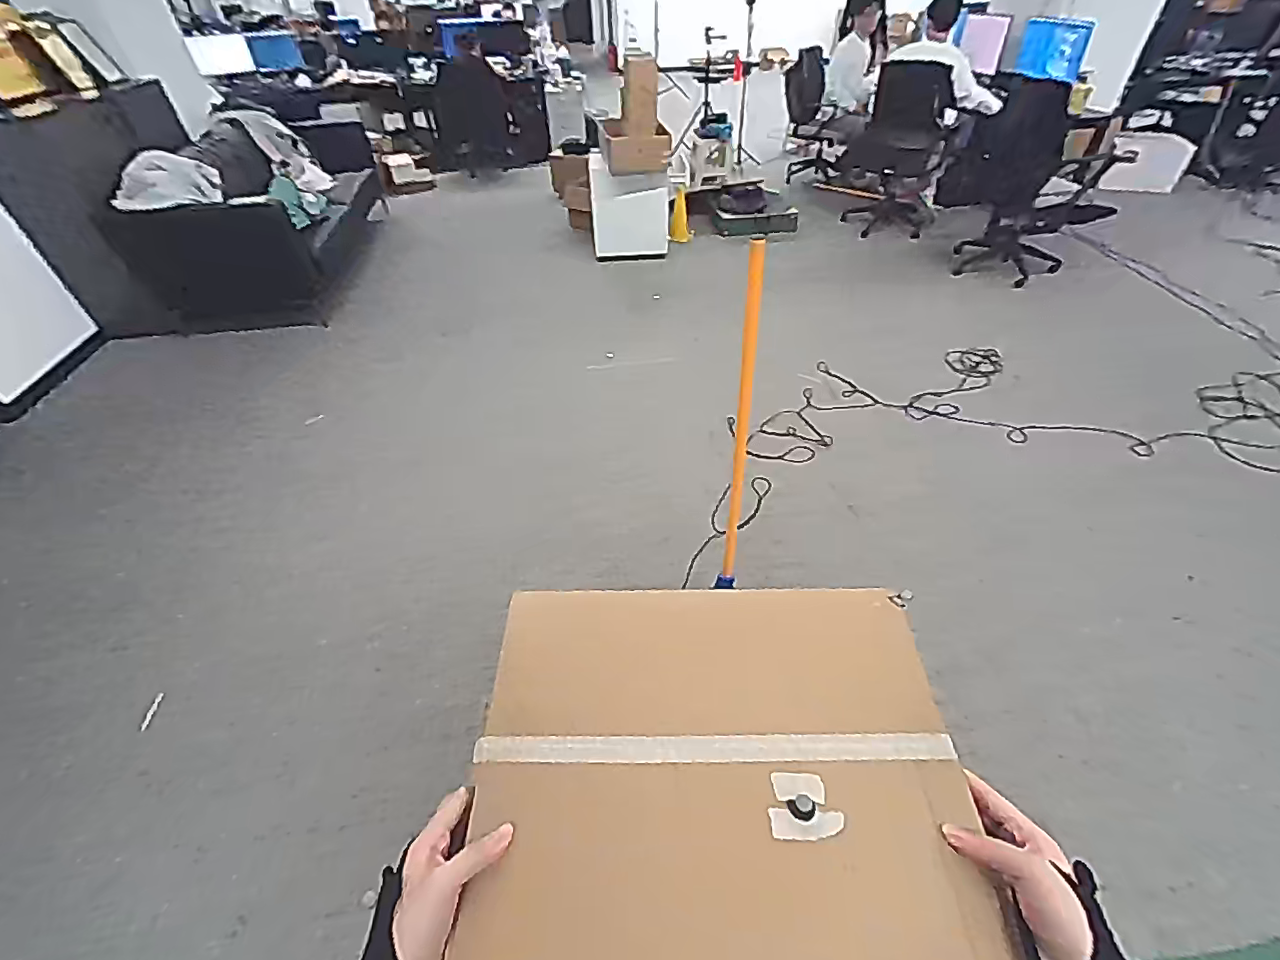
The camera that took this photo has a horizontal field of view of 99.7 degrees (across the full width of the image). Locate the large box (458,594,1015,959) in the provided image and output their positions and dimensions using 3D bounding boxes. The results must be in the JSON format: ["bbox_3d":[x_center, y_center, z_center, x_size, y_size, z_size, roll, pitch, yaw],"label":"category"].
[{"bbox_3d":[0.067,0.338,0.586,0.408,0.320,0.320,0,48,1],"label":"large box"}]
